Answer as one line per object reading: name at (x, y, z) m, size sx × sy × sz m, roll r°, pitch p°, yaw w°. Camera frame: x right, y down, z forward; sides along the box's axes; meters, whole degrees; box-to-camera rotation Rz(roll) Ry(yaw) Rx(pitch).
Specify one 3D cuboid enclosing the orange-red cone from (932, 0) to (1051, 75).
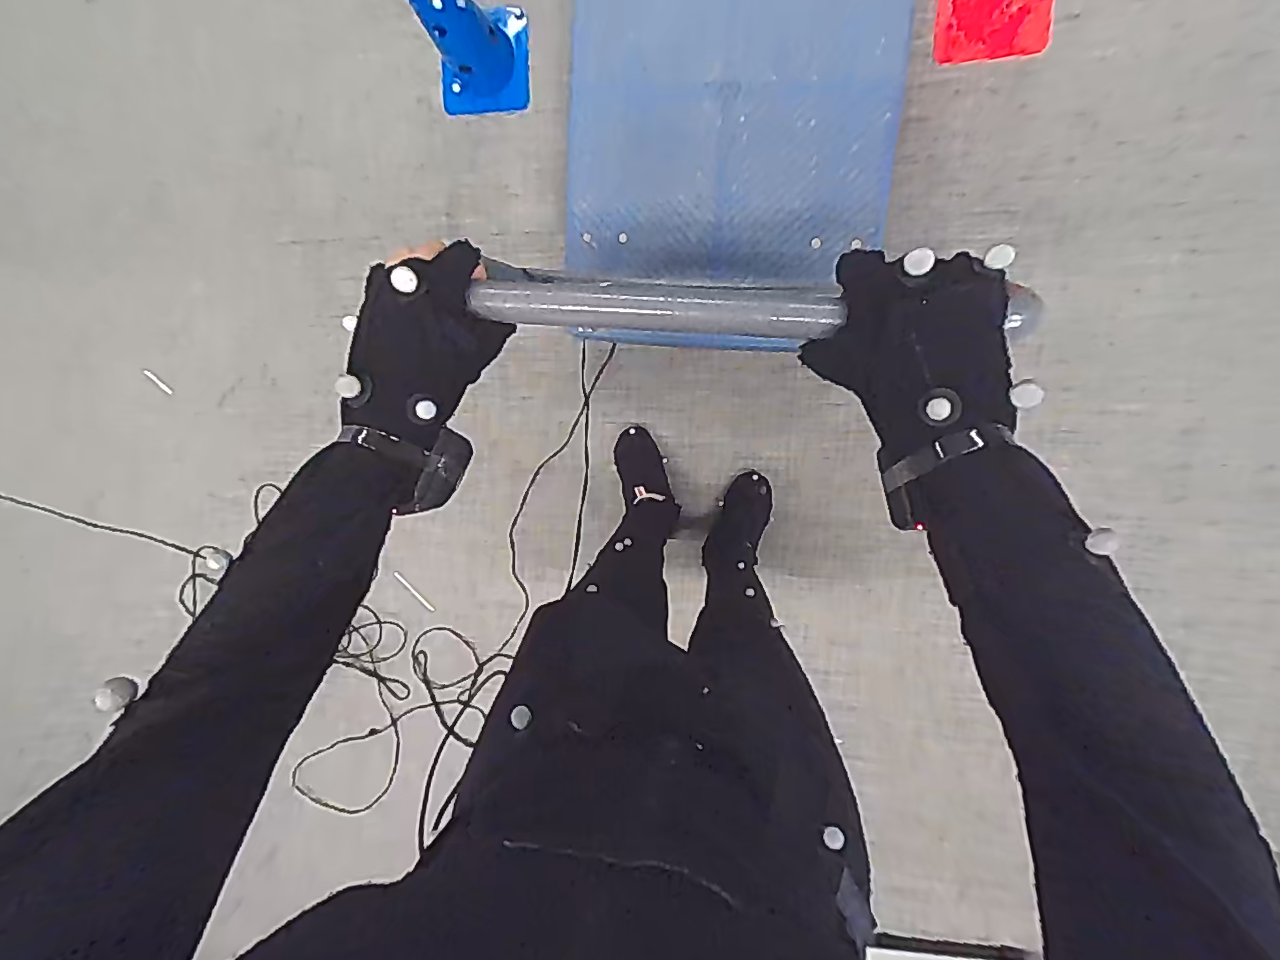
orange-red cone at (0.629, -0.847, 0.849) m, size 0.199 × 0.360 × 0.198 m, roll 2°, pitch 100°, yaw 11°
